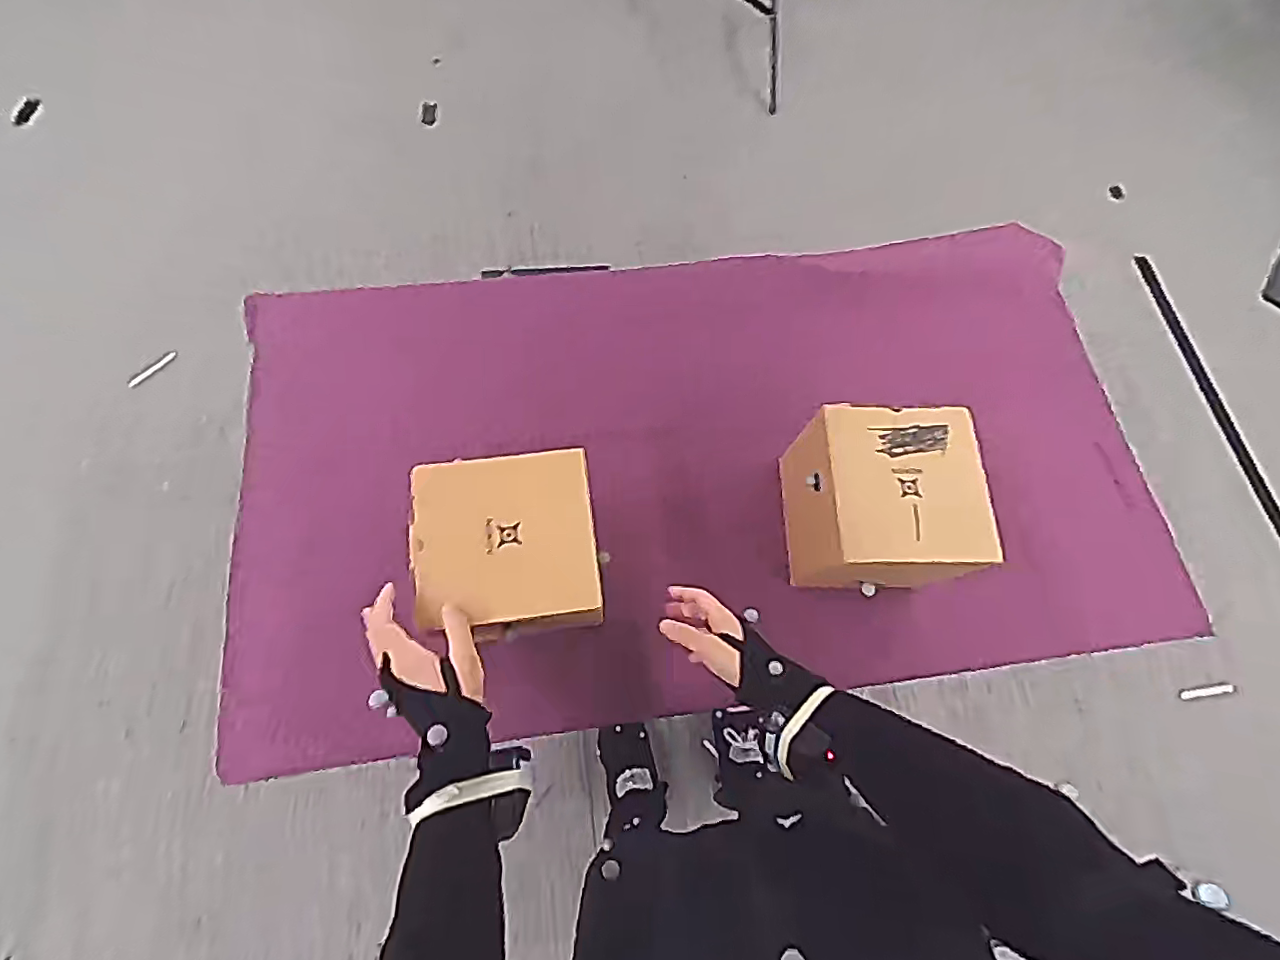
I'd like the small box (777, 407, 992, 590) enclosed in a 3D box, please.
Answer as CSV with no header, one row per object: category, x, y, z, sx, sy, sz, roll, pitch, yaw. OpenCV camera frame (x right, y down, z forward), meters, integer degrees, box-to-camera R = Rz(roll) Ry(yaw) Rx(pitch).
small box,0.270,0.030,0.644,0.168,0.176,0.179,1,71,-3

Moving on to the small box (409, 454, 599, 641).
small box,-0.141,0.083,0.604,0.179,0.176,0.168,-7,71,-5
